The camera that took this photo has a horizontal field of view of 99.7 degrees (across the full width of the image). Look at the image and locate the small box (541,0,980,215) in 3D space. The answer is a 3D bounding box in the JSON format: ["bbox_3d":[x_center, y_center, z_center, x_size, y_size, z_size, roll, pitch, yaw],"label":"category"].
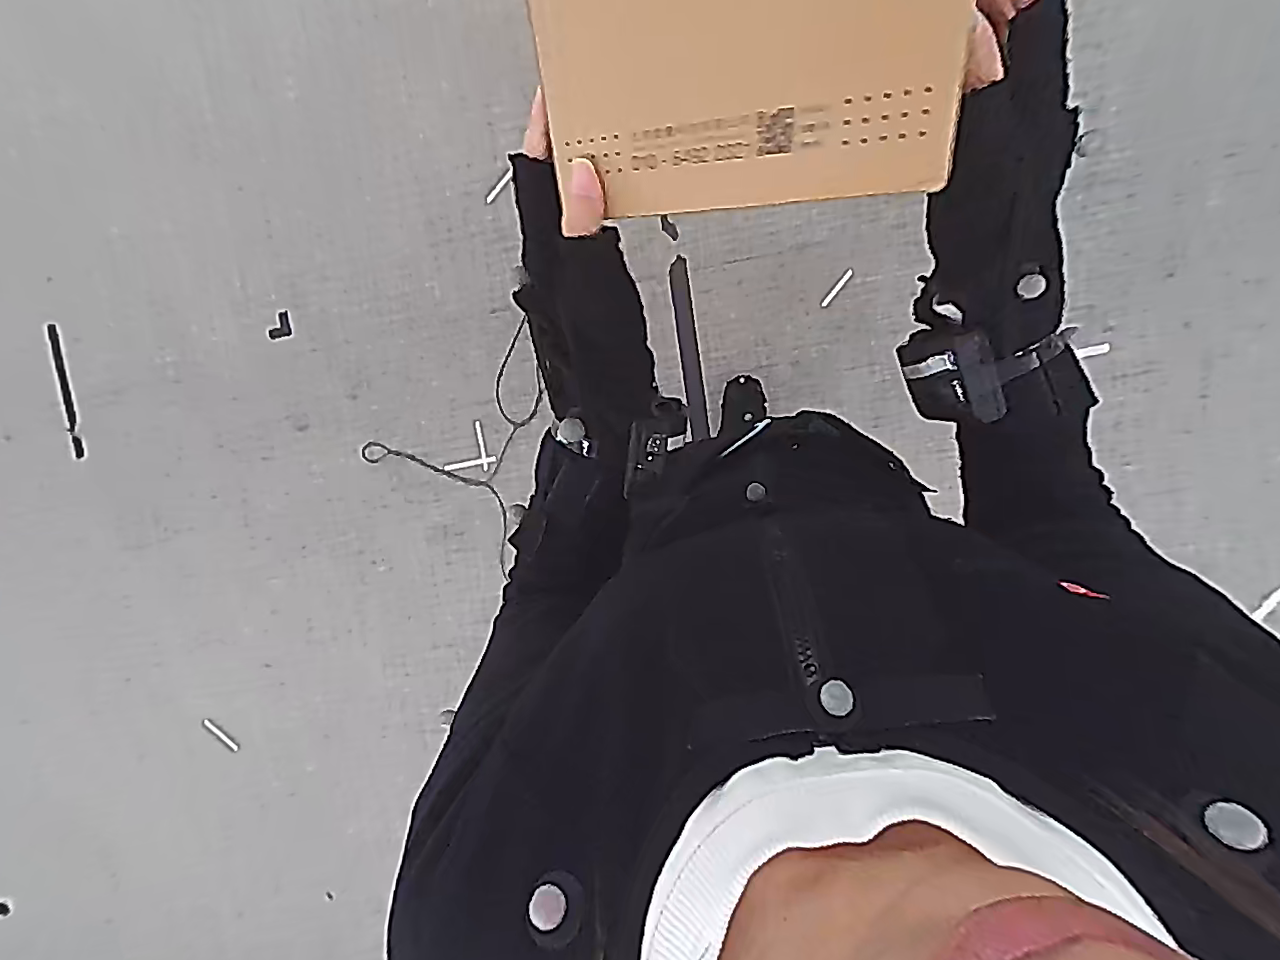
[{"bbox_3d":[0.066,-0.228,0.256,0.168,0.179,0.176,10,126,27],"label":"small box"}]
